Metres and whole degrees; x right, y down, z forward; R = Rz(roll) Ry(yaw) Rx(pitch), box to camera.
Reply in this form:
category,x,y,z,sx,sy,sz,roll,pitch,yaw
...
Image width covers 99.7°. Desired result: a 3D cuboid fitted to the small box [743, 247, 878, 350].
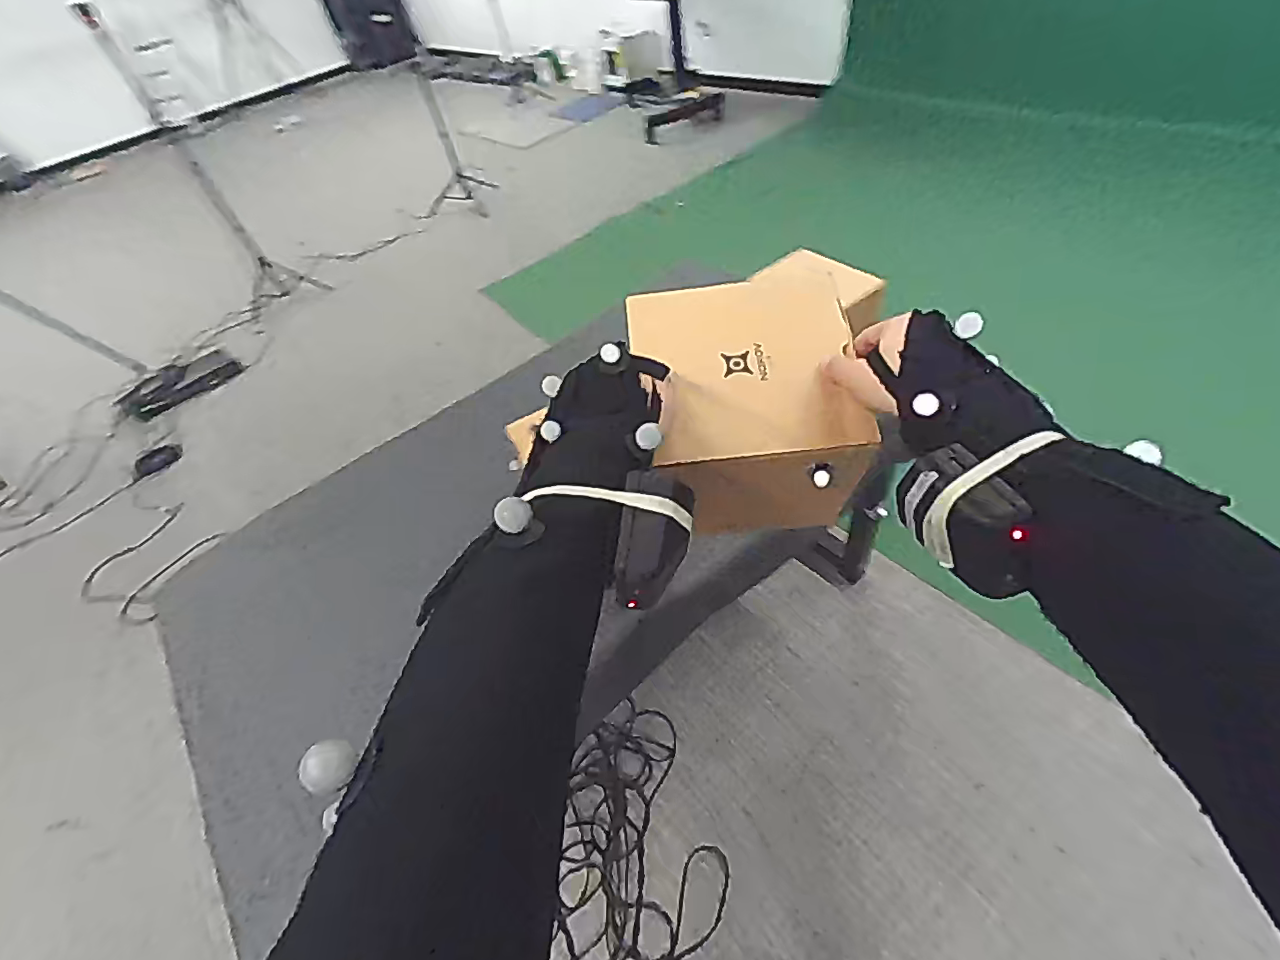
category,x,y,z,sx,sy,sz,roll,pitch,yaw
small box,0.260,-0.251,0.898,0.179,0.176,0.168,-34,52,-17

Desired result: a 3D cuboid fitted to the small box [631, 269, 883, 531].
category,x,y,z,sx,sy,sz,roll,pitch,yaw
small box,0.091,-0.060,0.491,0.179,0.176,0.168,-5,65,3
